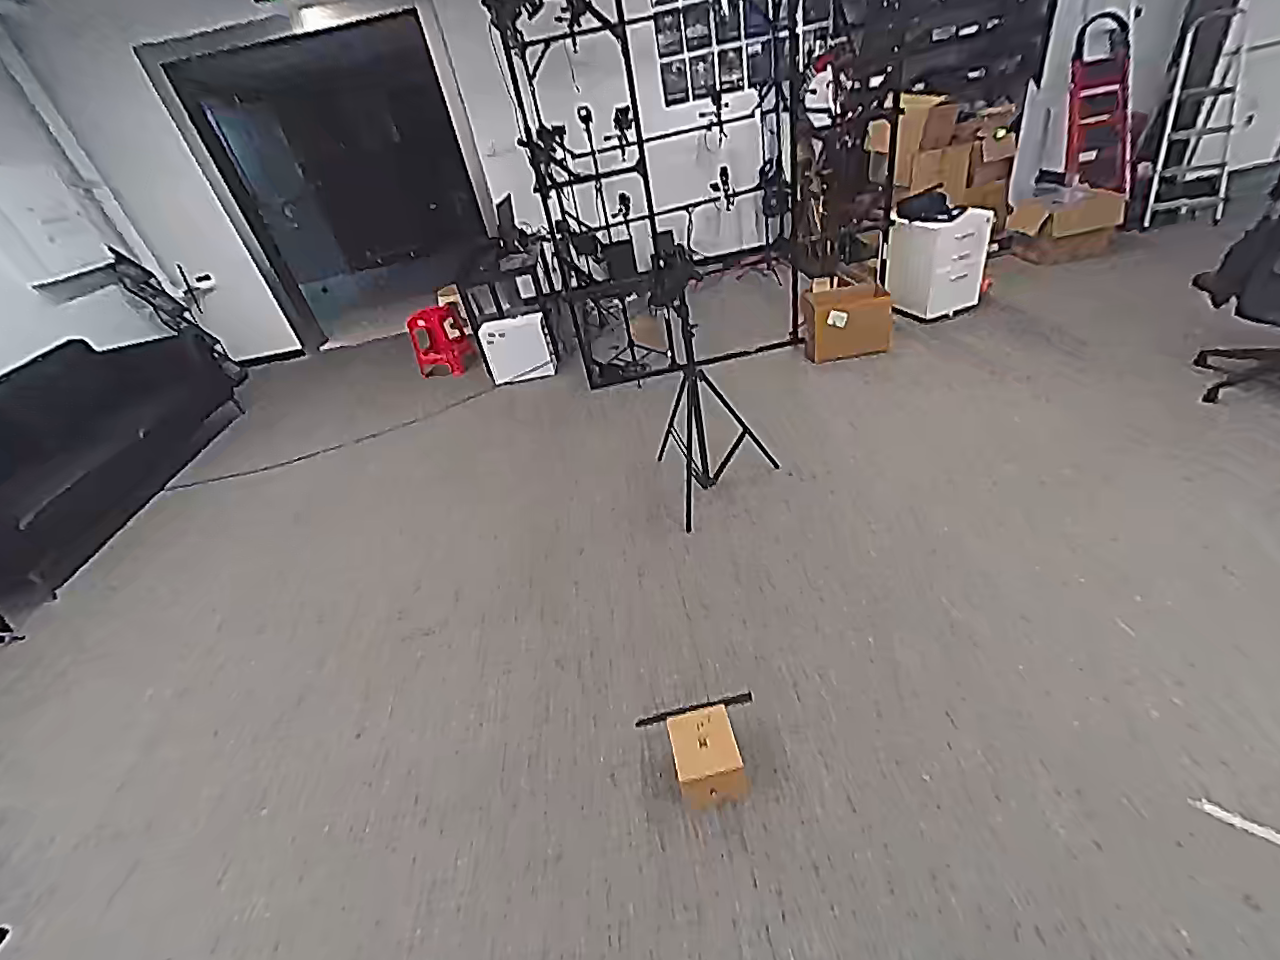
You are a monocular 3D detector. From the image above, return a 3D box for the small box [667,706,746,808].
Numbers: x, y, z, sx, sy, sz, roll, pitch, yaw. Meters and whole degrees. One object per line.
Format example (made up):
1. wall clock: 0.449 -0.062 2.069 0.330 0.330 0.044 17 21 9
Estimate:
1. small box: 0.177 0.742 1.438 0.168 0.176 0.179 -13 34 -2
